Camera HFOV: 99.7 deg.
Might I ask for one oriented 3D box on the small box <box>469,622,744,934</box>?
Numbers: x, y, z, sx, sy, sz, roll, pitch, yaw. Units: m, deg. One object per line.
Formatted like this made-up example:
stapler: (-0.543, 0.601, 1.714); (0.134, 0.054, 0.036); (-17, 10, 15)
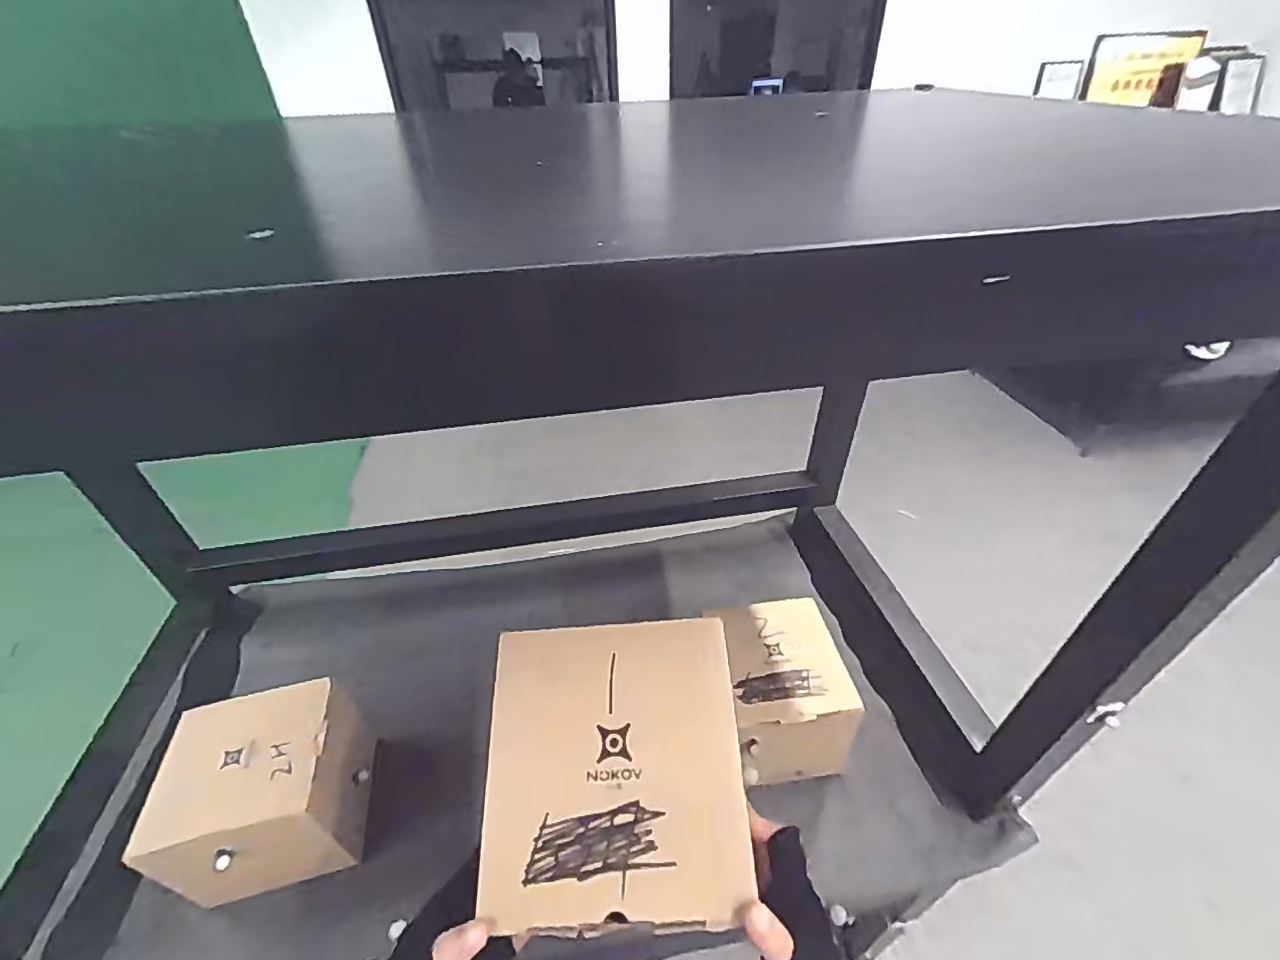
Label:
small box: (-0.015, 0.223, 0.420); (0.168, 0.176, 0.179); (-4, 58, 3)

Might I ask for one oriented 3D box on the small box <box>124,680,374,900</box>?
small box: (-0.458, 0.384, 0.672); (0.179, 0.176, 0.168); (-10, 39, -11)
